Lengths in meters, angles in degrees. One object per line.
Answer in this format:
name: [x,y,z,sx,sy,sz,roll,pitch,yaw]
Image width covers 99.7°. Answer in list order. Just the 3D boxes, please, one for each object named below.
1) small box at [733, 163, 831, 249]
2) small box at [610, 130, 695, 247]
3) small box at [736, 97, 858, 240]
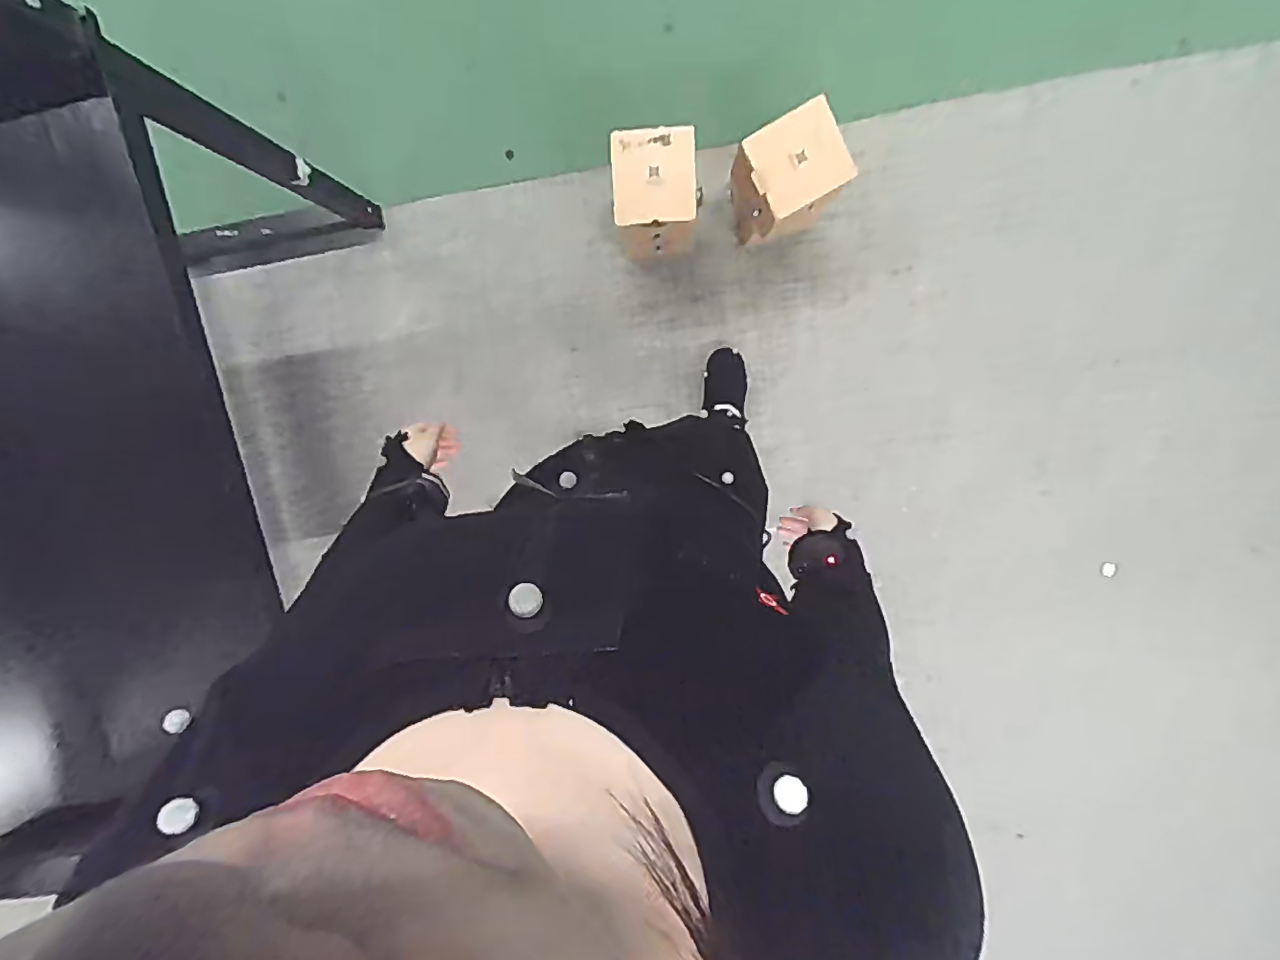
small box: [0.322,-0.663,1.267,0.179,0.176,0.168,-15,100,5]
small box: [0.032,-0.594,1.127,0.168,0.176,0.179,-2,100,4]
small box: [0.308,-0.623,1.110,0.179,0.176,0.168,-28,100,6]
